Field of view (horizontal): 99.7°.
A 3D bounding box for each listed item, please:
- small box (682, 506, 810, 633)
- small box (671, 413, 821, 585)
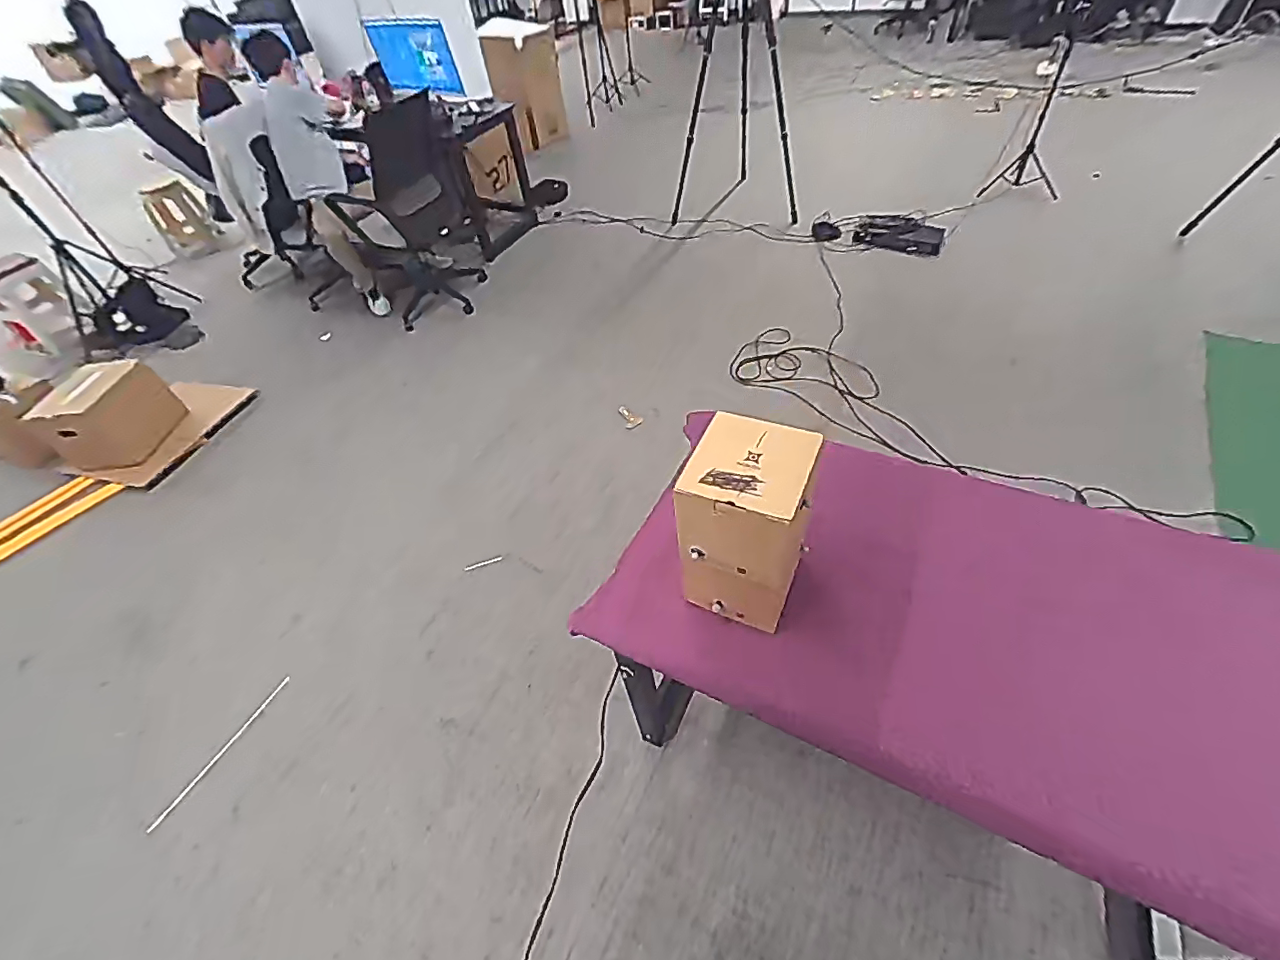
[{"bbox_3d":[0.183,0.133,0.942,0.168,0.176,0.179,16,53,22],"label":"small box"},{"bbox_3d":[0.161,0.030,0.816,0.168,0.176,0.179,16,51,22],"label":"small box"}]
